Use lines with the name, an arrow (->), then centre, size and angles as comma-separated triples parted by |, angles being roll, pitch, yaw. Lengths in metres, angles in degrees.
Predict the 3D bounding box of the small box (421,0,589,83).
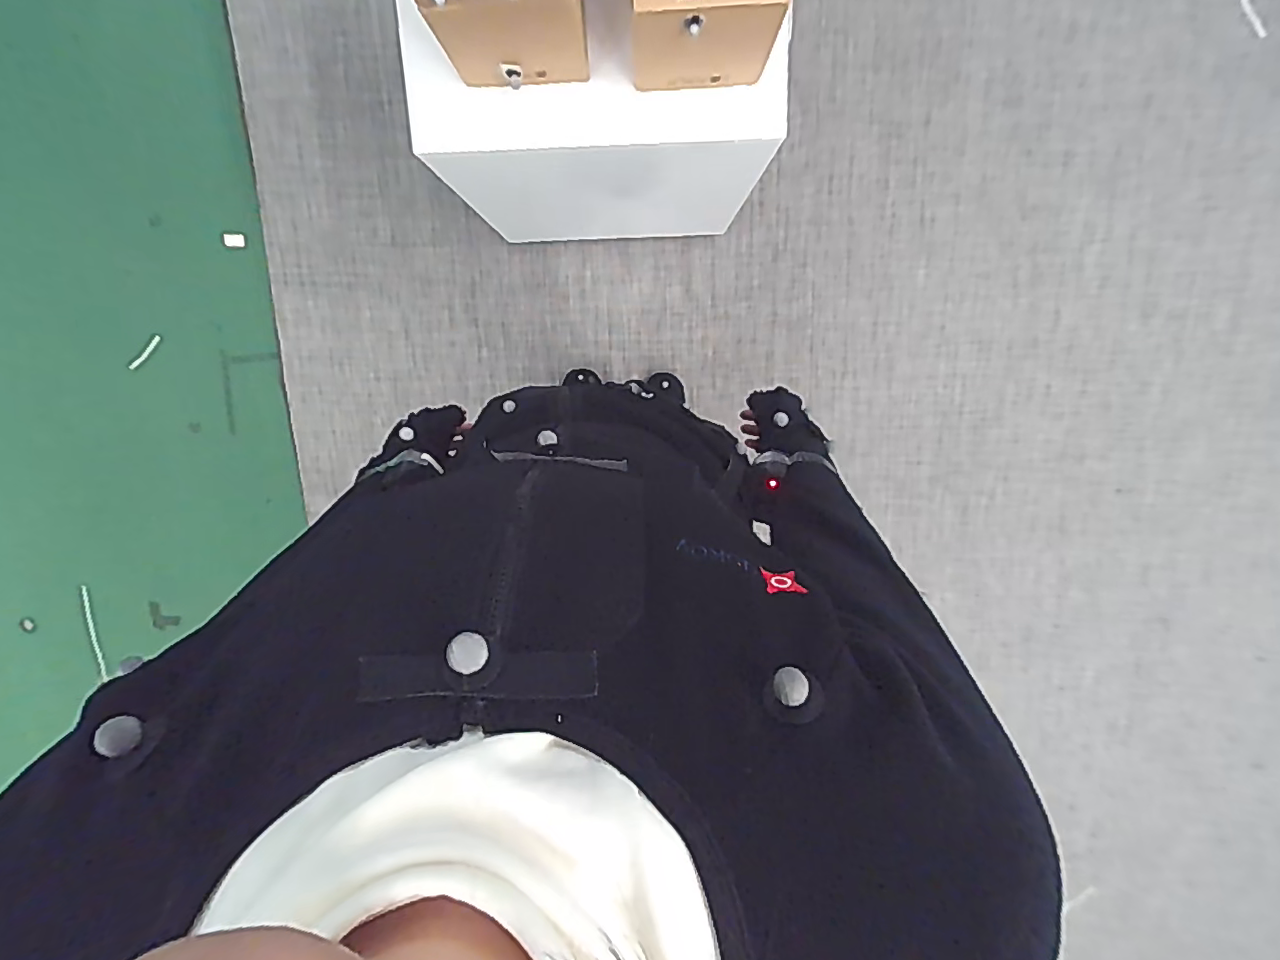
small box -> -0.152, -0.592, 0.611 | 0.168, 0.176, 0.179 | -4, 103, 1

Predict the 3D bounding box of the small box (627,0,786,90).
small box -> 0.068, -0.591, 0.624 | 0.168, 0.176, 0.179 | -2, 101, 0
